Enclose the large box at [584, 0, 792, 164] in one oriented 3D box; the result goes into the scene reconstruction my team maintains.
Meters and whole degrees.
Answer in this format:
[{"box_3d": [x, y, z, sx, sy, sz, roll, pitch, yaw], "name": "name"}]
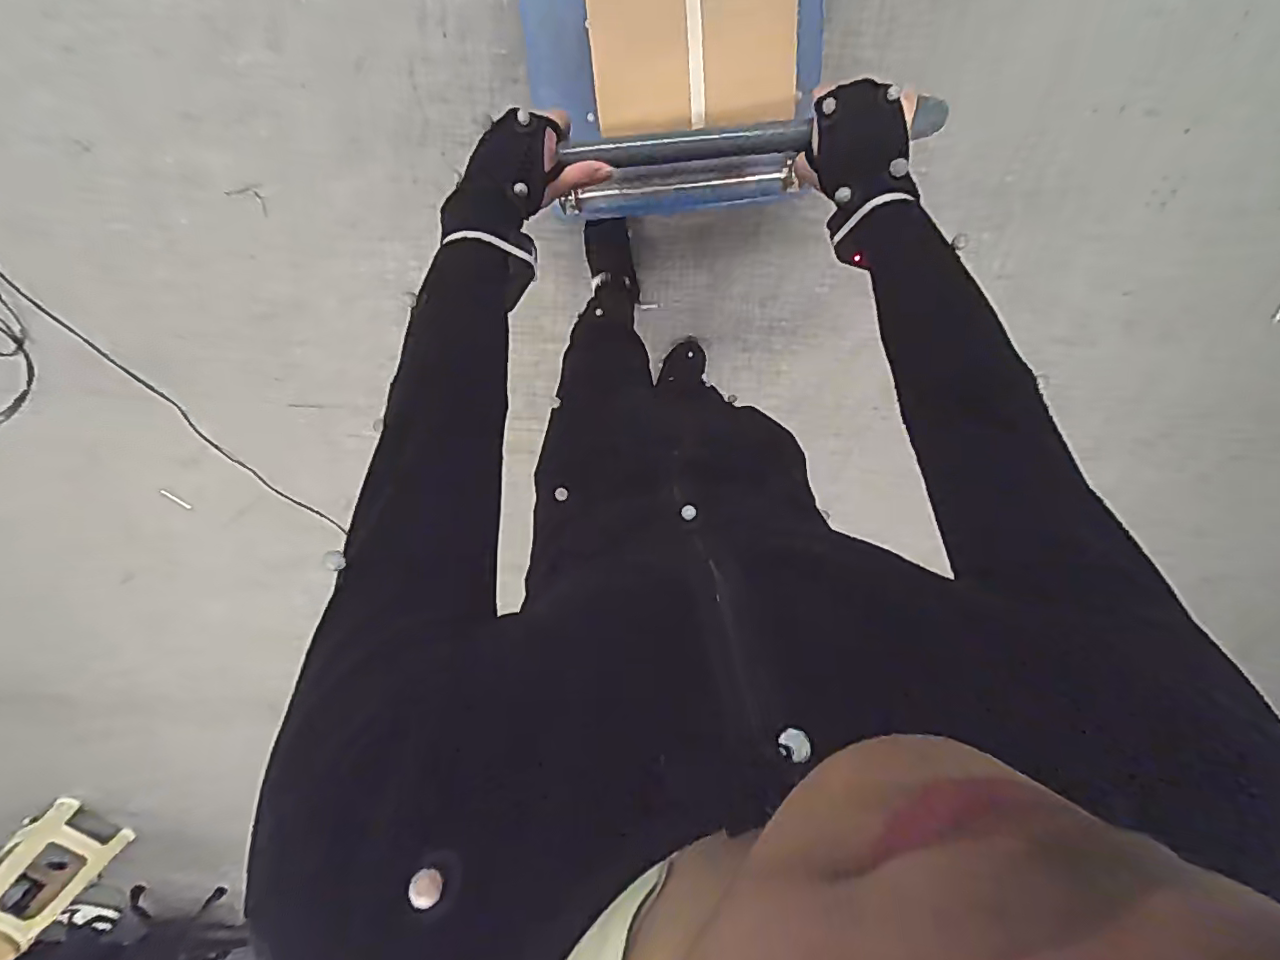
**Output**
[{"box_3d": [0.073, -0.806, 0.931, 0.320, 0.320, 0.408, -5, 115, 3], "name": "large box"}]
